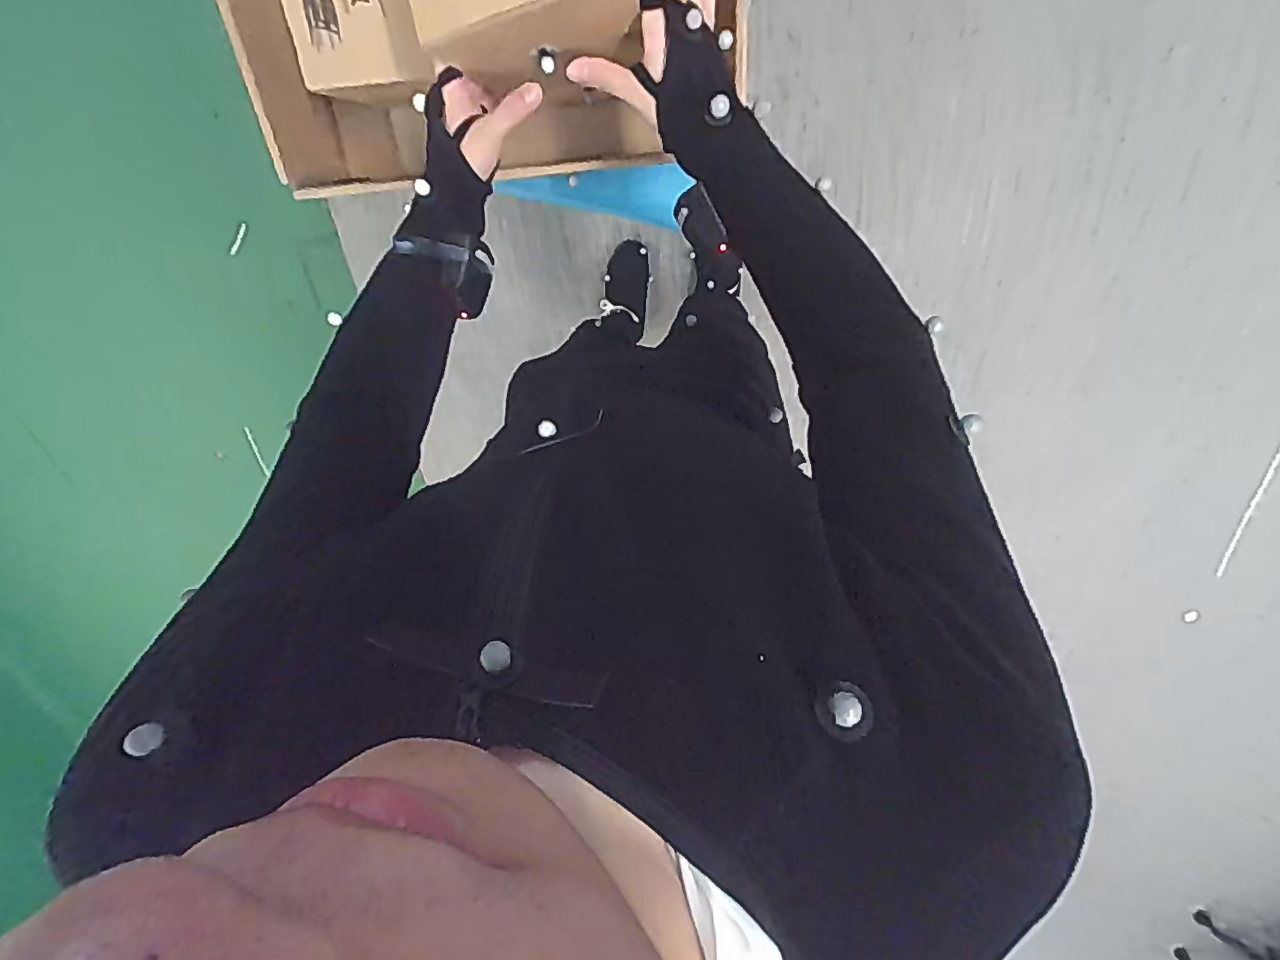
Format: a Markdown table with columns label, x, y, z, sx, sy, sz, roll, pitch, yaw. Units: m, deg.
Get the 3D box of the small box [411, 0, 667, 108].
| label | x | y | z | sx | sy | sz | roll | pitch | yaw |
| --- | --- | --- | --- | --- | --- | --- | --- | --- | --- |
| small box | -0.082 | -0.448 | 0.453 | 0.179 | 0.176 | 0.168 | -4 | 107 | 19 |
